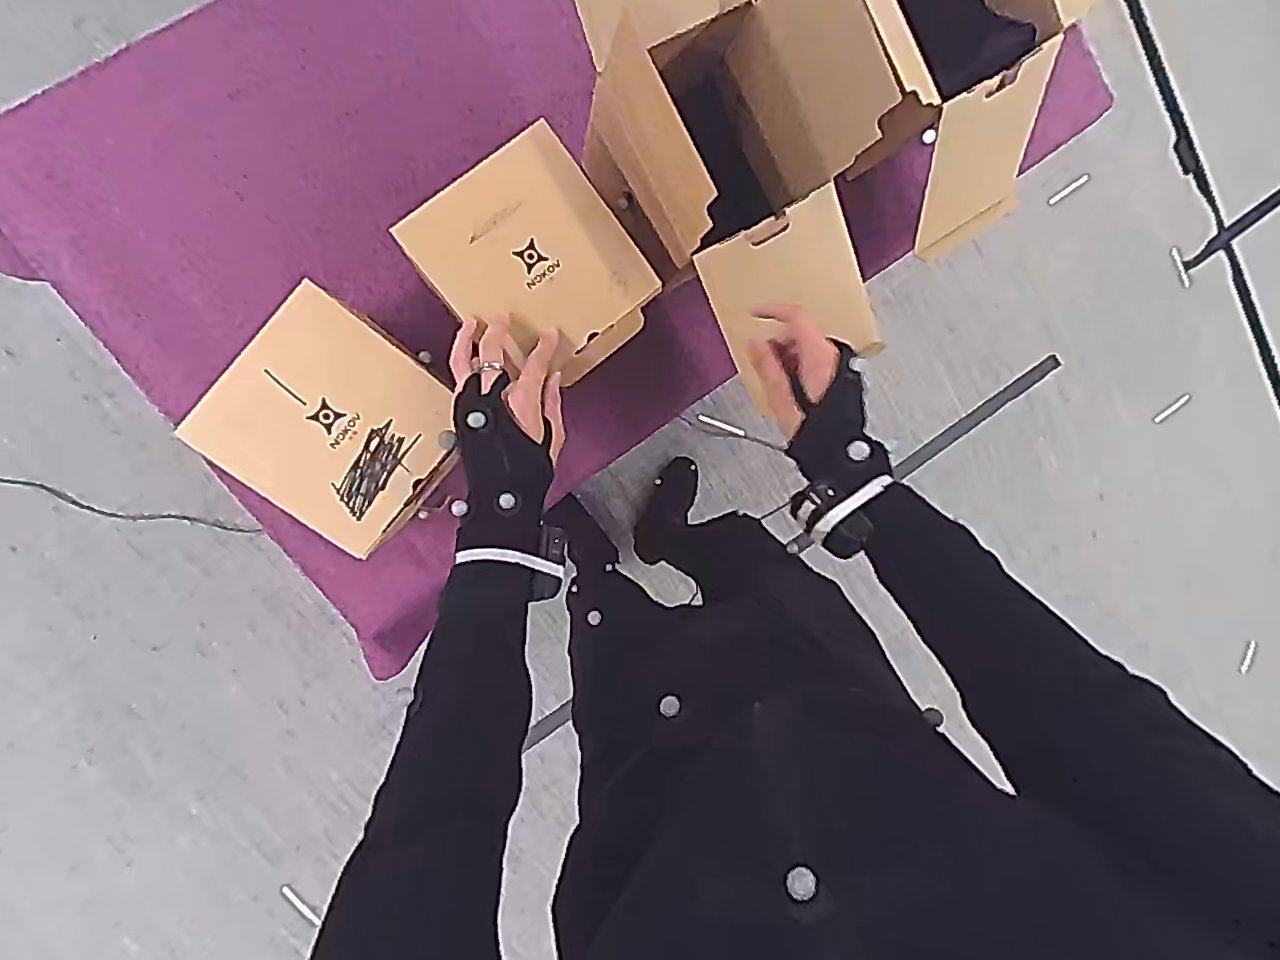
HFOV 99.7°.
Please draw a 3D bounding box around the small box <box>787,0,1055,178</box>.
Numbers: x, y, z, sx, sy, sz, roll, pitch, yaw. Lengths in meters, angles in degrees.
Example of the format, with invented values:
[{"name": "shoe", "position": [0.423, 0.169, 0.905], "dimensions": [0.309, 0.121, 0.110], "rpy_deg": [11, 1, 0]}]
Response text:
[{"name": "small box", "position": [0.295, -0.485, 0.603], "dimensions": [0.168, 0.176, 0.179], "rpy_deg": [-33, 101, -6]}]
